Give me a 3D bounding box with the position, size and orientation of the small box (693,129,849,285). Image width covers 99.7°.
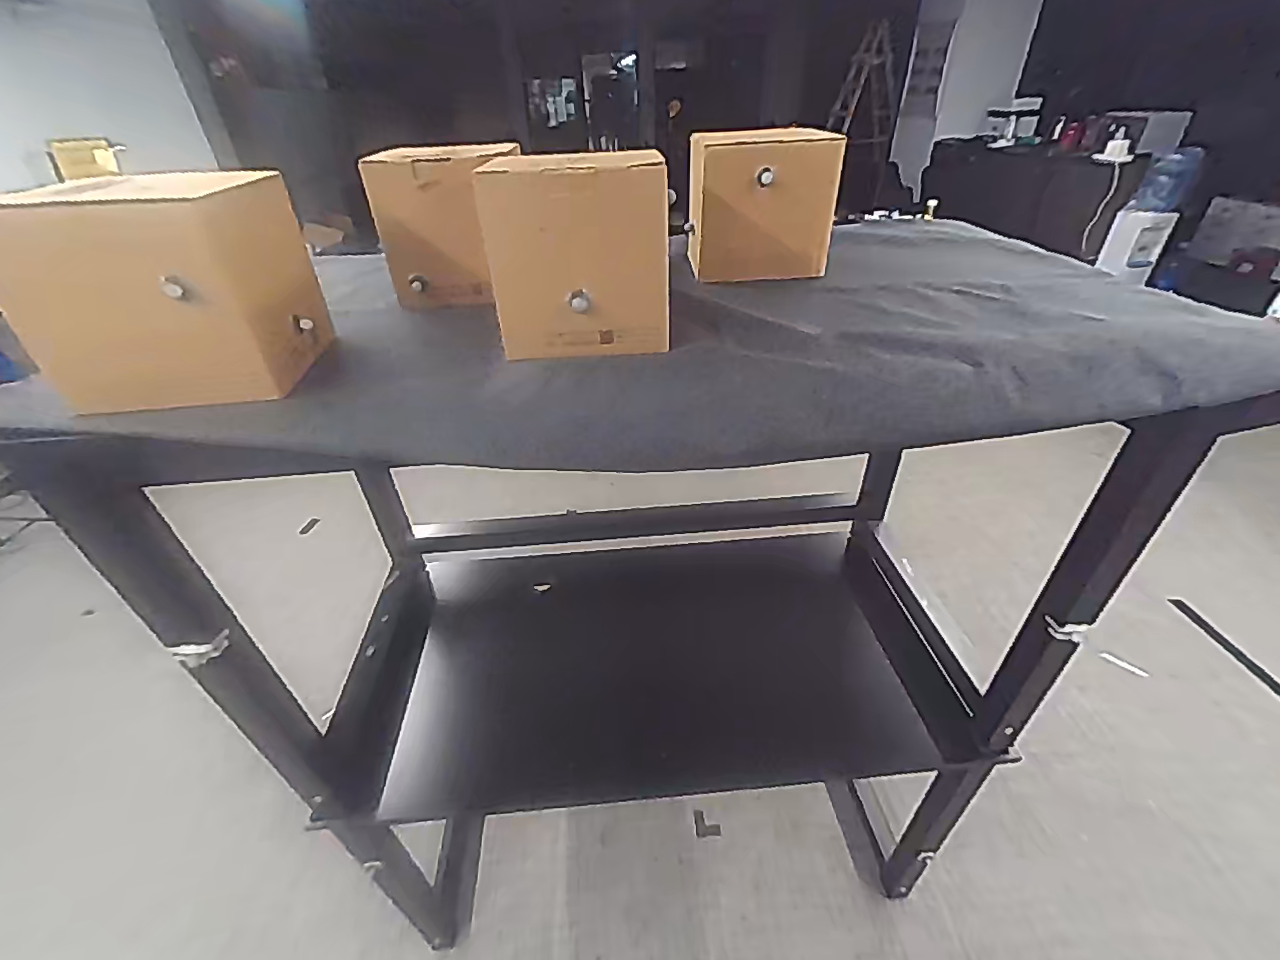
[{"bbox_3d":[0.169,-0.384,0.760,0.179,0.176,0.168,-3,35,1],"label":"small box"}]

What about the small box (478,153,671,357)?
[{"bbox_3d":[-0.054,-0.239,0.567,0.168,0.176,0.179,-3,35,1],"label":"small box"}]
